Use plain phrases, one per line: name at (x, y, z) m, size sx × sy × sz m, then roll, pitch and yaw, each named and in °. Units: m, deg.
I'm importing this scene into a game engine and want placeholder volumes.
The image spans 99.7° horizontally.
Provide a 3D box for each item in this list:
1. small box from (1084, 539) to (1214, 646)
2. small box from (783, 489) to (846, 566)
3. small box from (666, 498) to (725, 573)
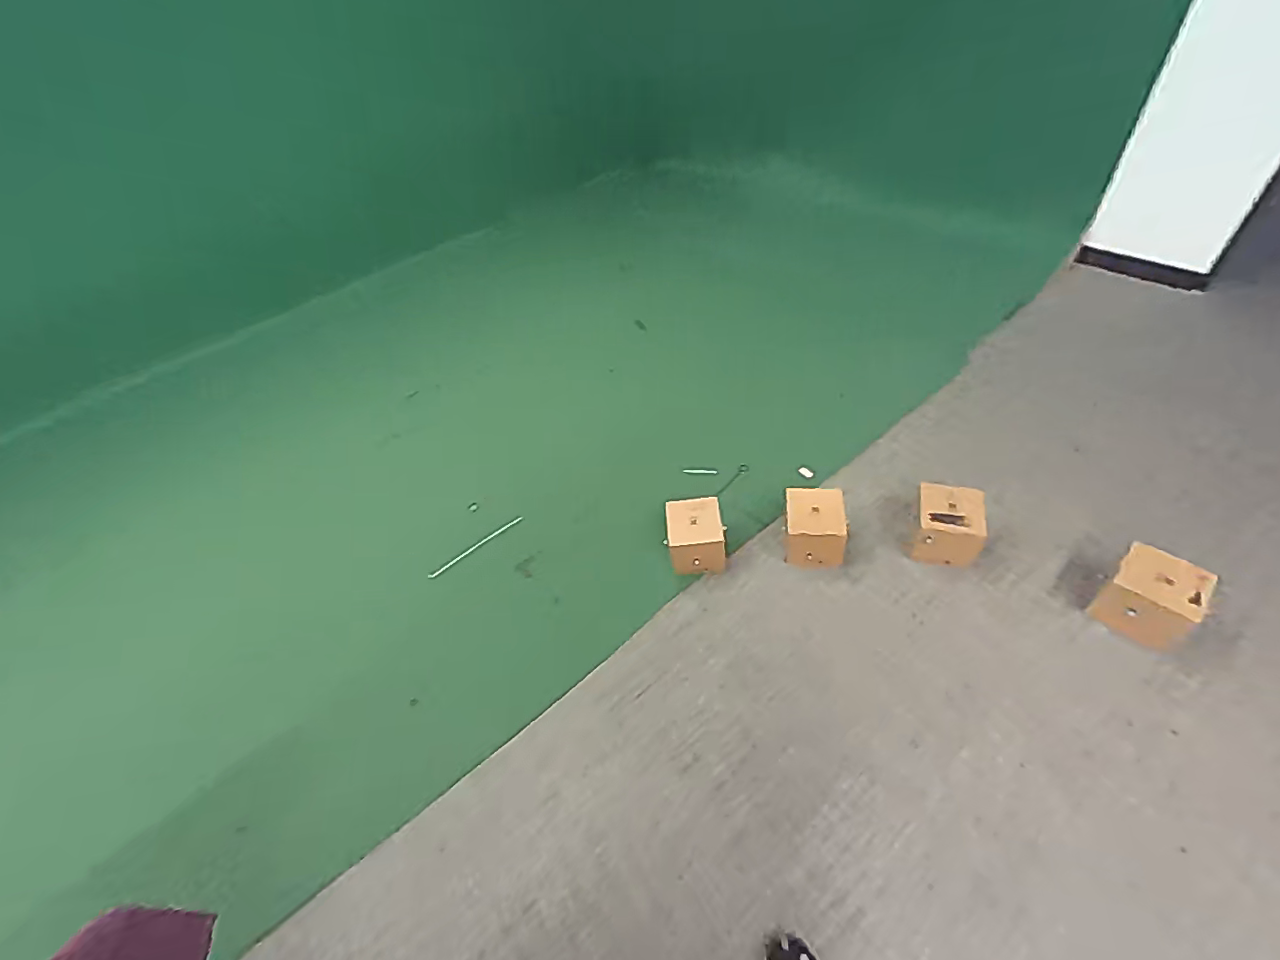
small box at (1.295, 0.292, 1.389) m, size 0.179 × 0.176 × 0.168 m, roll 32°, pitch 62°, yaw 34°
small box at (0.536, 0.147, 1.679) m, size 0.168 × 0.176 × 0.179 m, roll 0°, pitch 49°, yaw 12°
small box at (0.177, 0.183, 1.716) m, size 0.168 × 0.176 × 0.179 m, roll -7°, pitch 47°, yaw 5°
